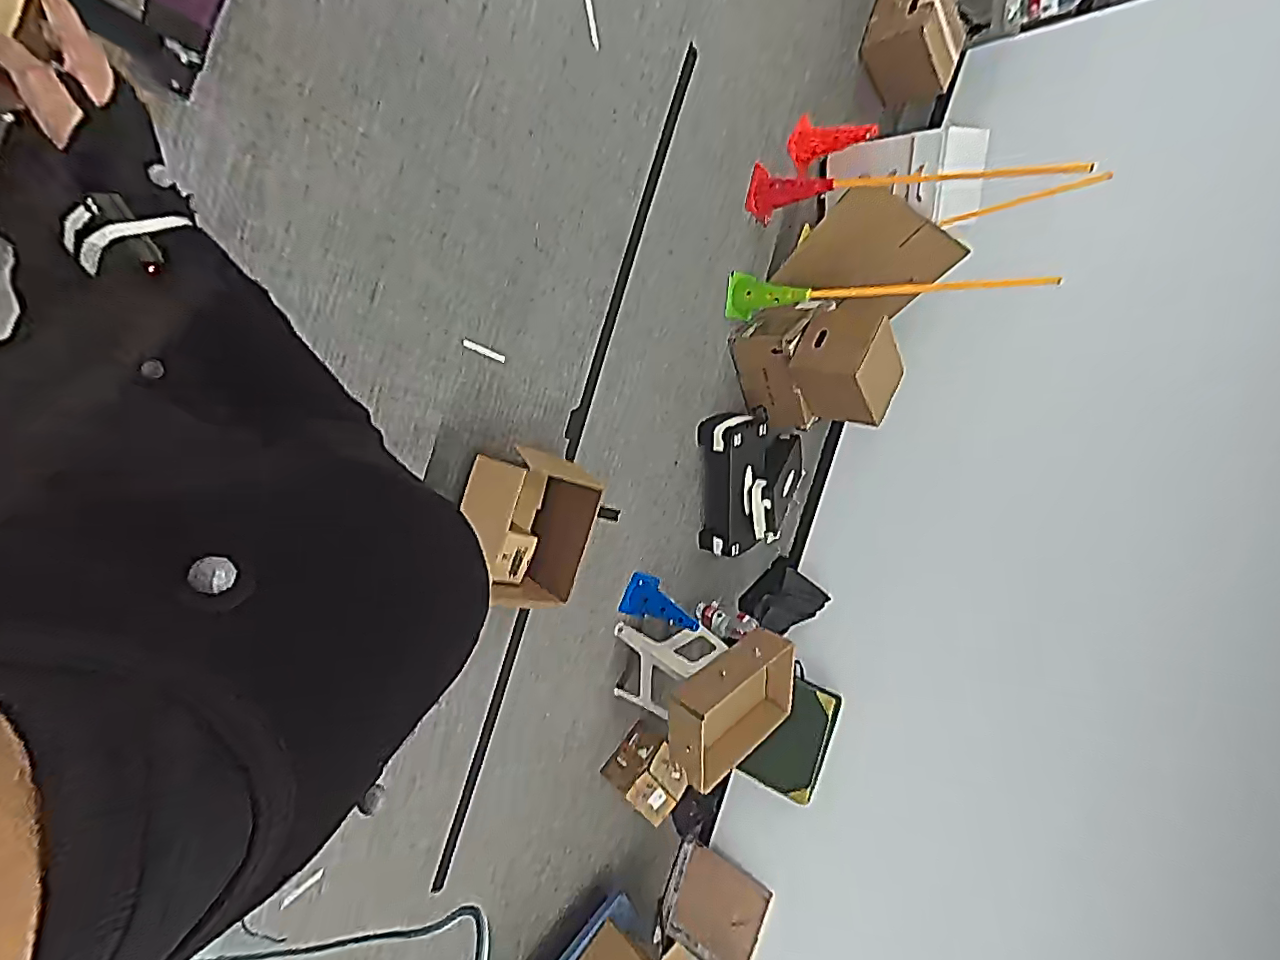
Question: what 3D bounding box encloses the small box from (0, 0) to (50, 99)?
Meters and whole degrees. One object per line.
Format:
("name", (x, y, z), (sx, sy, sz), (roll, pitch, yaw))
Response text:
("small box", (-0.561, -0.403, 0.375), (0.168, 0.176, 0.179), (-17, 117, -51))
